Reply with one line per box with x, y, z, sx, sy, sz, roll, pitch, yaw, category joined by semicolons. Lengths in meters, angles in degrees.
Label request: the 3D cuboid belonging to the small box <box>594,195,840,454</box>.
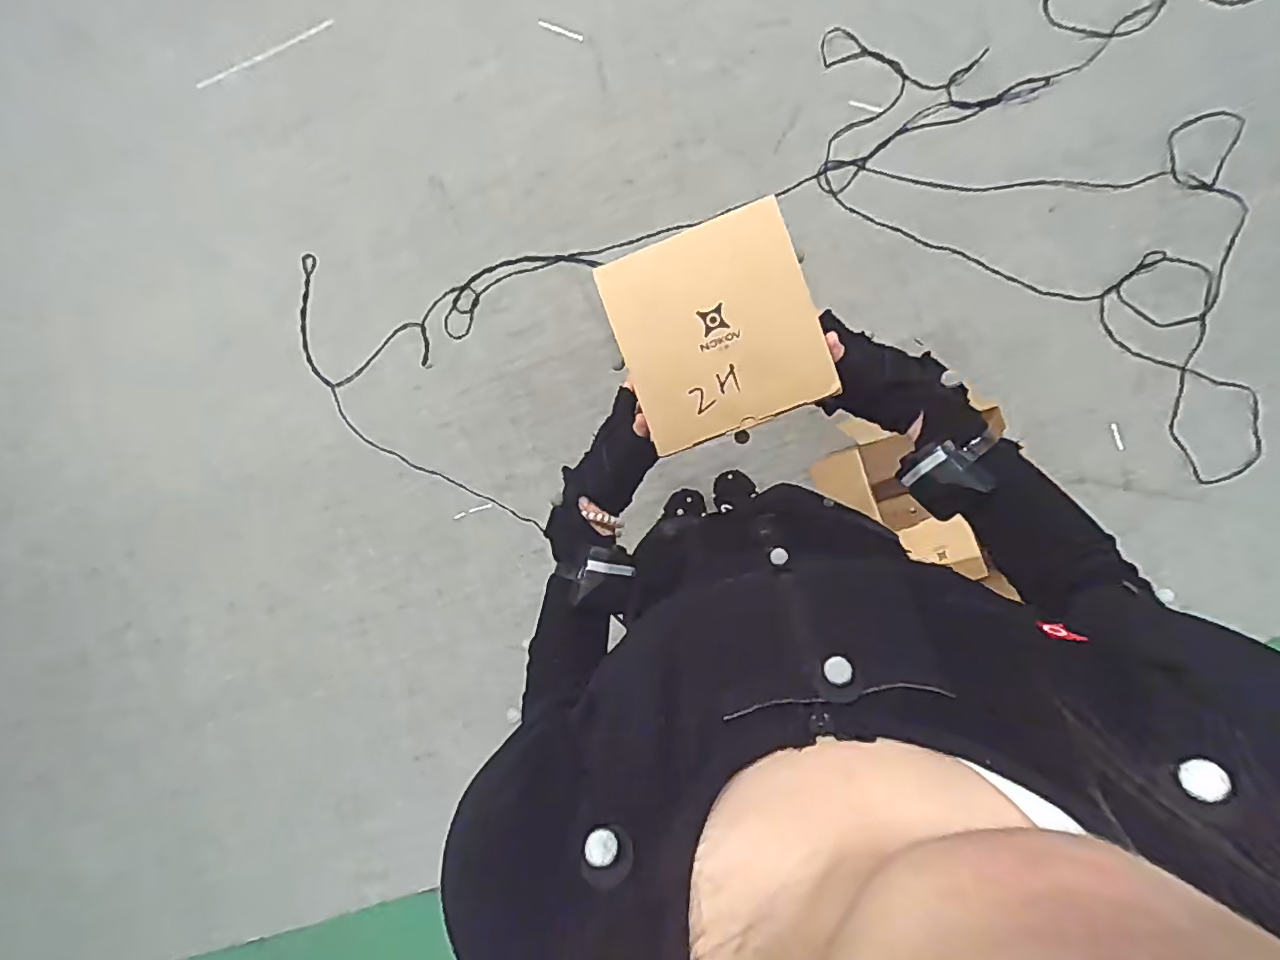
0.069;-0.132;0.530;0.168;0.176;0.179;-19;93;7;small box
